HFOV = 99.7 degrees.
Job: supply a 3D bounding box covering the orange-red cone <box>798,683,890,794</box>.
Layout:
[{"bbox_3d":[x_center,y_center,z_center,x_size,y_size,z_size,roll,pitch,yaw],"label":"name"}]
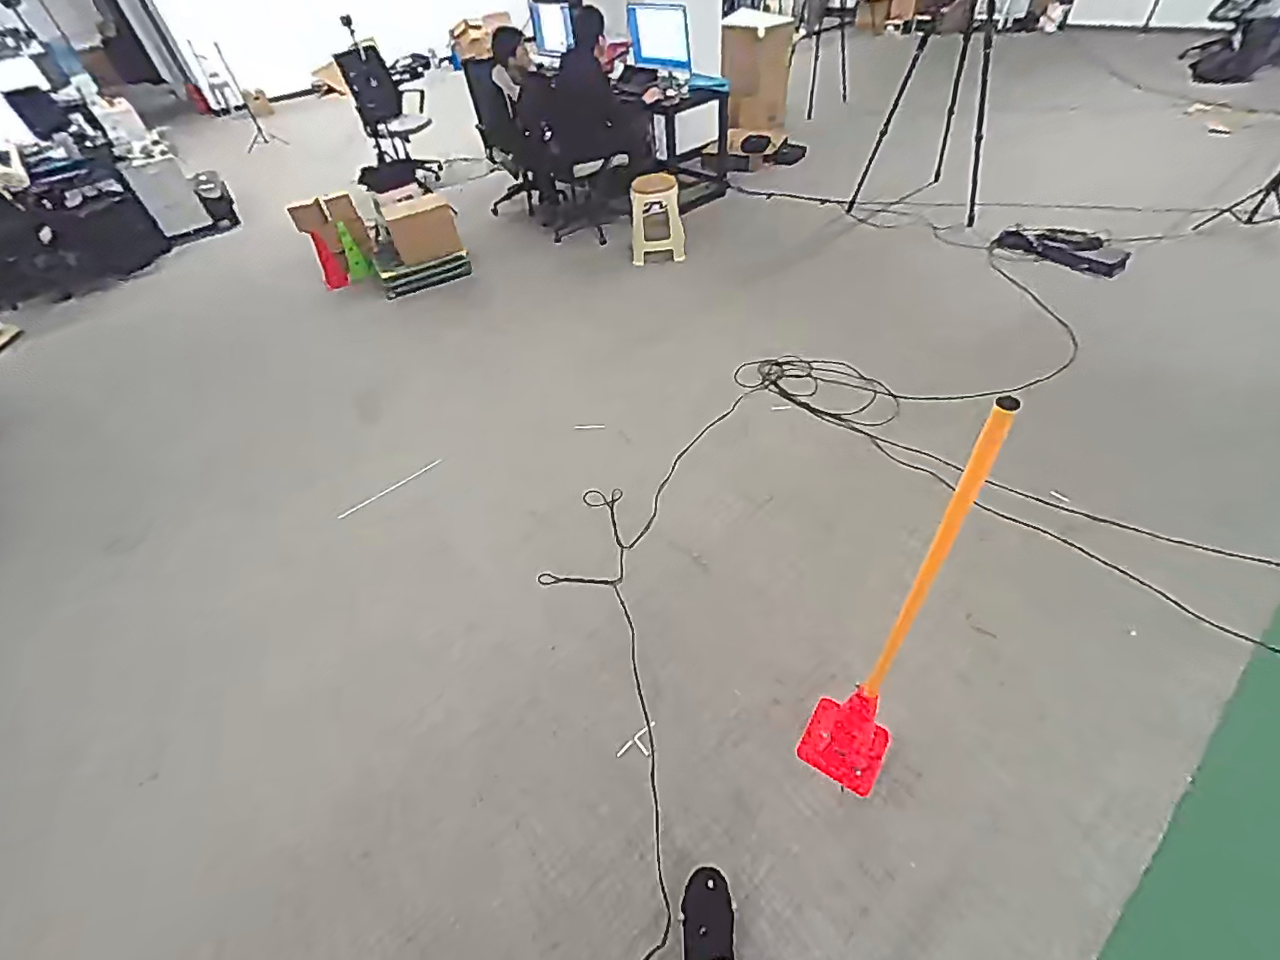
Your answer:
[{"bbox_3d":[0.539,0.595,1.347,0.198,0.360,0.199,25,53,27],"label":"orange-red cone"}]
